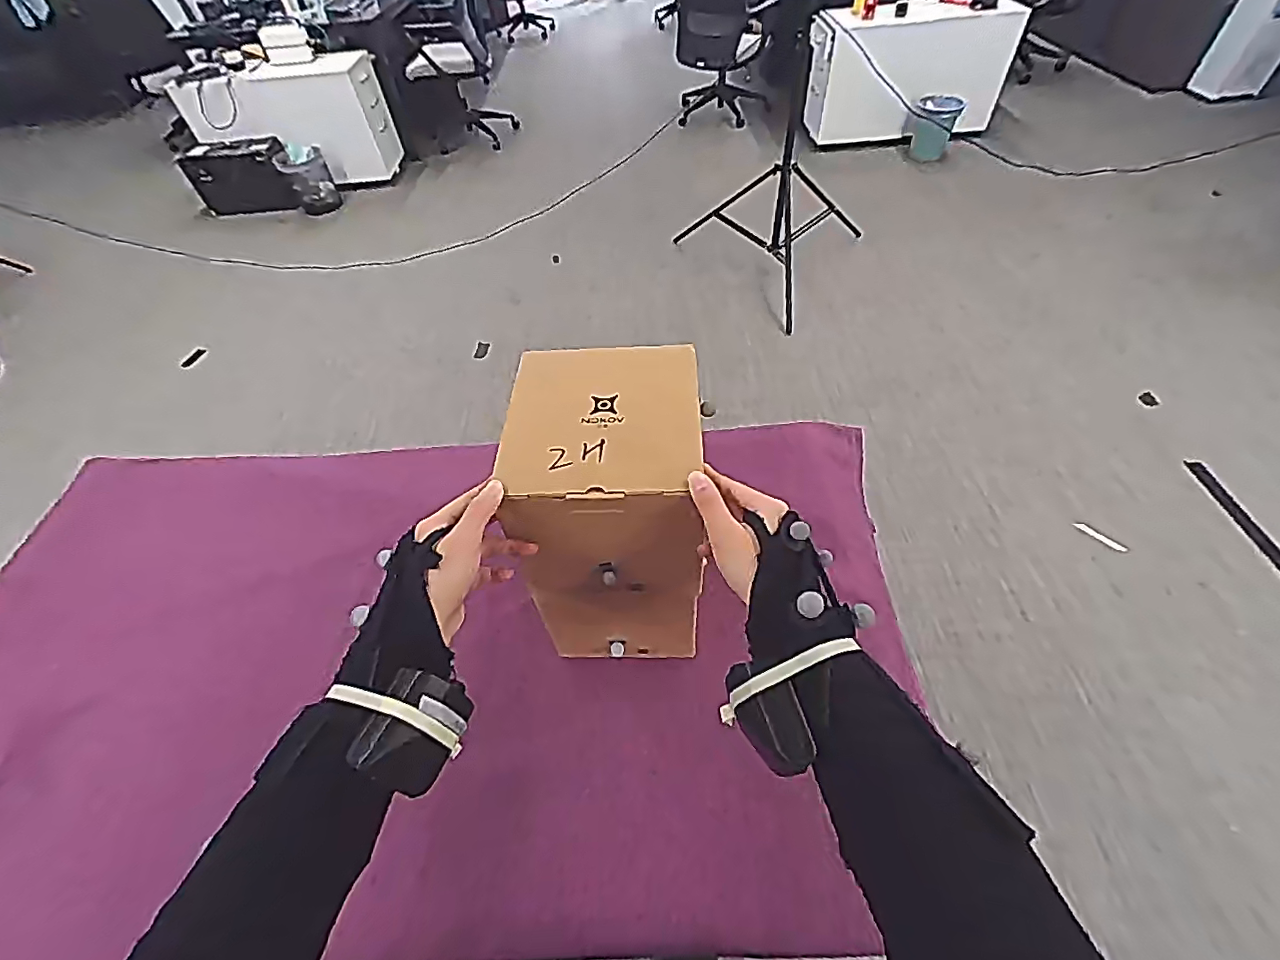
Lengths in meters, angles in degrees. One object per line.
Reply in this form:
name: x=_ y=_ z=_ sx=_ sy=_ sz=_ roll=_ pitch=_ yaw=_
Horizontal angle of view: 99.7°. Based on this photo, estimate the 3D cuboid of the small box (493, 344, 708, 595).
small box: x=-0.023 y=-0.009 z=0.517 sx=0.168 sy=0.176 sz=0.179 roll=-2 pitch=50 yaw=5

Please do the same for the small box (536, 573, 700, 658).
small box: x=-0.015 y=0.095 z=0.646 sx=0.168 sy=0.176 sz=0.179 roll=-1 pitch=51 yaw=4
